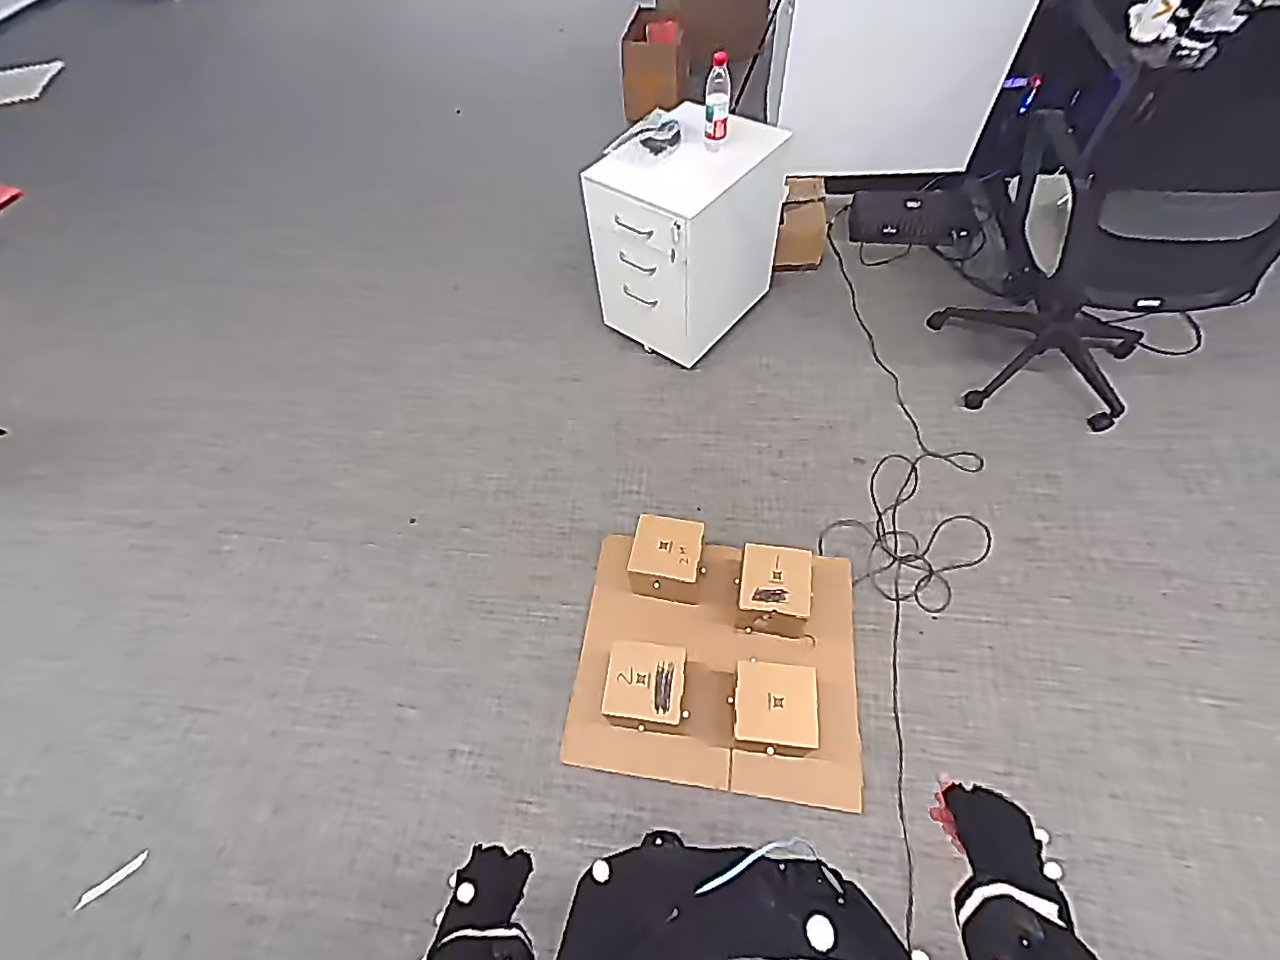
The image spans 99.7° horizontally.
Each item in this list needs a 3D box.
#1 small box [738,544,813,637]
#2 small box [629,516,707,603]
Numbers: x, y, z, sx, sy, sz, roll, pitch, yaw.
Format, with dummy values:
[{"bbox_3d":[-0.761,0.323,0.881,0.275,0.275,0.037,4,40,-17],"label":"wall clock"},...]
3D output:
[{"bbox_3d":[0.344,0.287,1.385,0.168,0.176,0.179,6,58,11],"label":"small box"},{"bbox_3d":[0.080,0.217,1.451,0.179,0.176,0.168,9,60,11],"label":"small box"}]
